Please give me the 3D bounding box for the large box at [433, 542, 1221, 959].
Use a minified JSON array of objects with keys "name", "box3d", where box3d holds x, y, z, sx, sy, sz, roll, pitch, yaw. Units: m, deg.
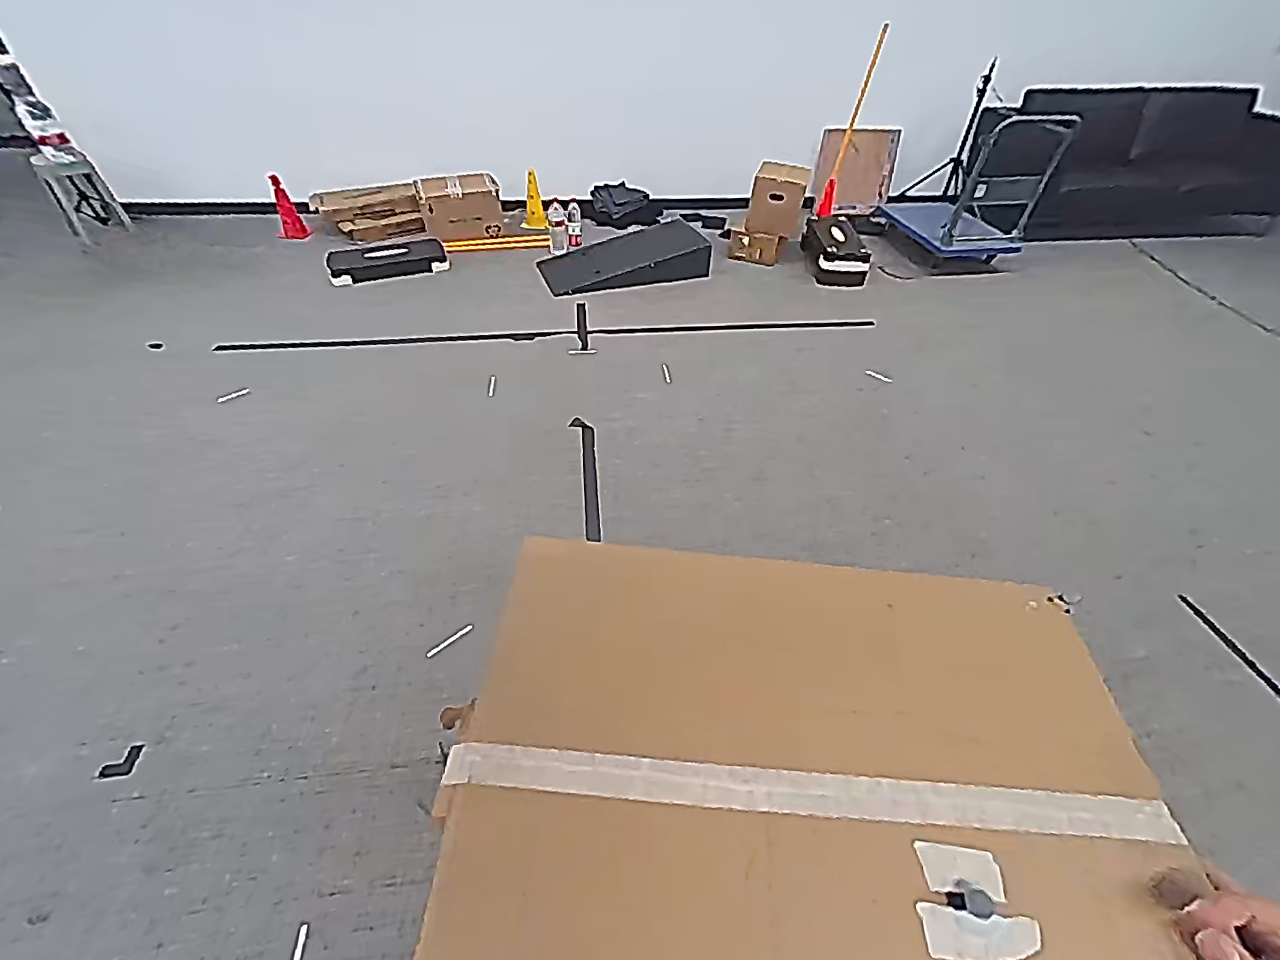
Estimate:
[{"name":"large box","box3d":[0.089,0.276,0.428,0.408,0.320,0.320,6,49,-2]}]
